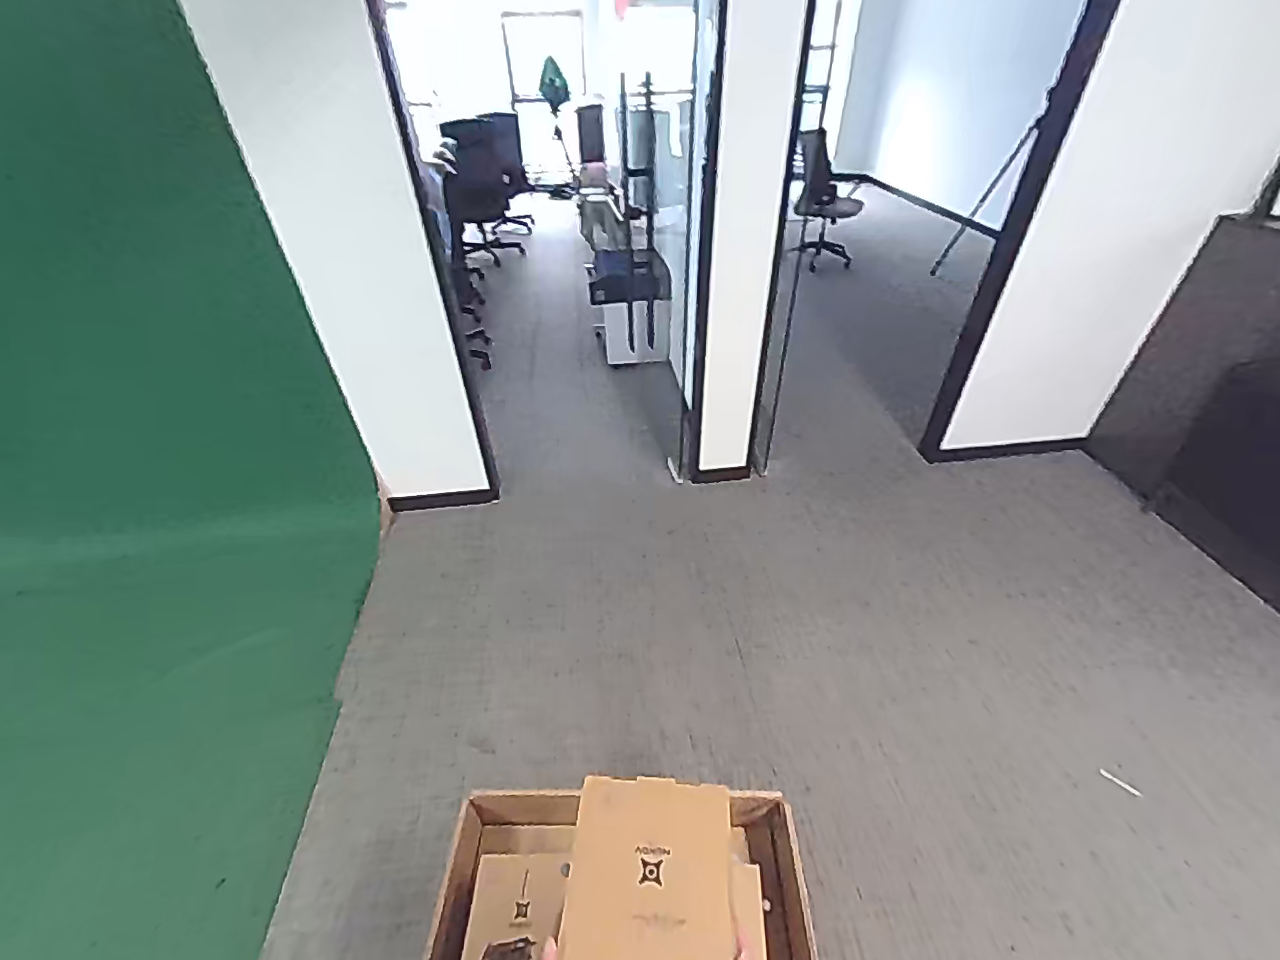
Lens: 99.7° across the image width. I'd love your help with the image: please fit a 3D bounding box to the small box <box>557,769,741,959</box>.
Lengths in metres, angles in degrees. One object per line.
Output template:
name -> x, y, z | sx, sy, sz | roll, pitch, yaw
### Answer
small box -> 0.013, 0.447, 0.582 | 0.168, 0.176, 0.179 | 3, 35, 4
